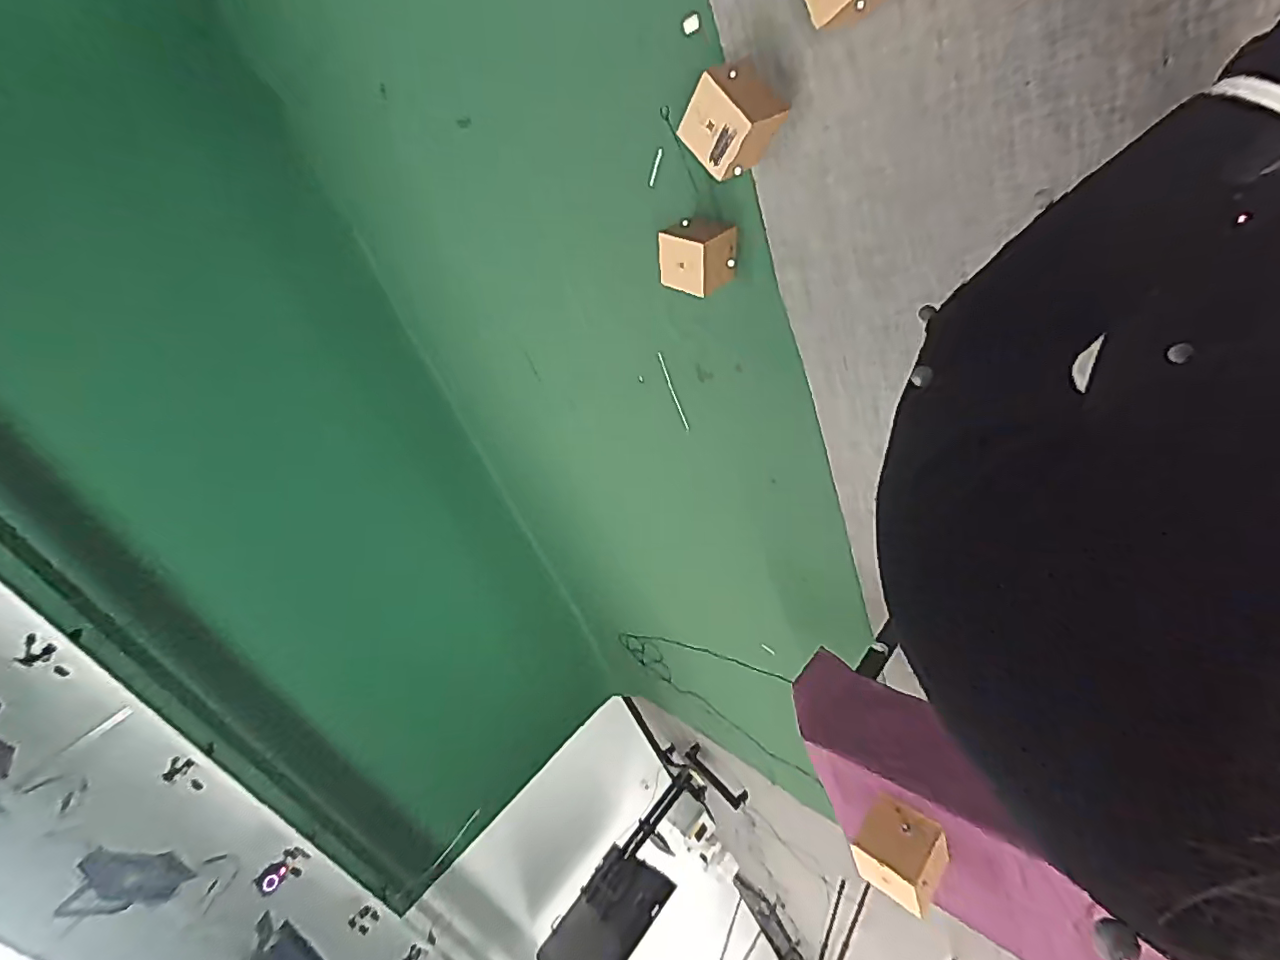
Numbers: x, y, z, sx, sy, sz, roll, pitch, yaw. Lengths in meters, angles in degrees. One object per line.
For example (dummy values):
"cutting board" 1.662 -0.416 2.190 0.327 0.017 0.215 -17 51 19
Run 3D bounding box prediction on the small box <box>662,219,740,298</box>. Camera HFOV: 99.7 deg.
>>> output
"small box" 0.187 -0.695 1.683 0.179 0.176 0.168 32 145 31

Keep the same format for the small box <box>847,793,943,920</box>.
"small box" 0.662 0.962 1.393 0.168 0.176 0.179 12 132 48

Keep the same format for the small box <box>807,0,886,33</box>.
"small box" 0.420 -0.997 1.017 0.179 0.176 0.168 -7 118 56
